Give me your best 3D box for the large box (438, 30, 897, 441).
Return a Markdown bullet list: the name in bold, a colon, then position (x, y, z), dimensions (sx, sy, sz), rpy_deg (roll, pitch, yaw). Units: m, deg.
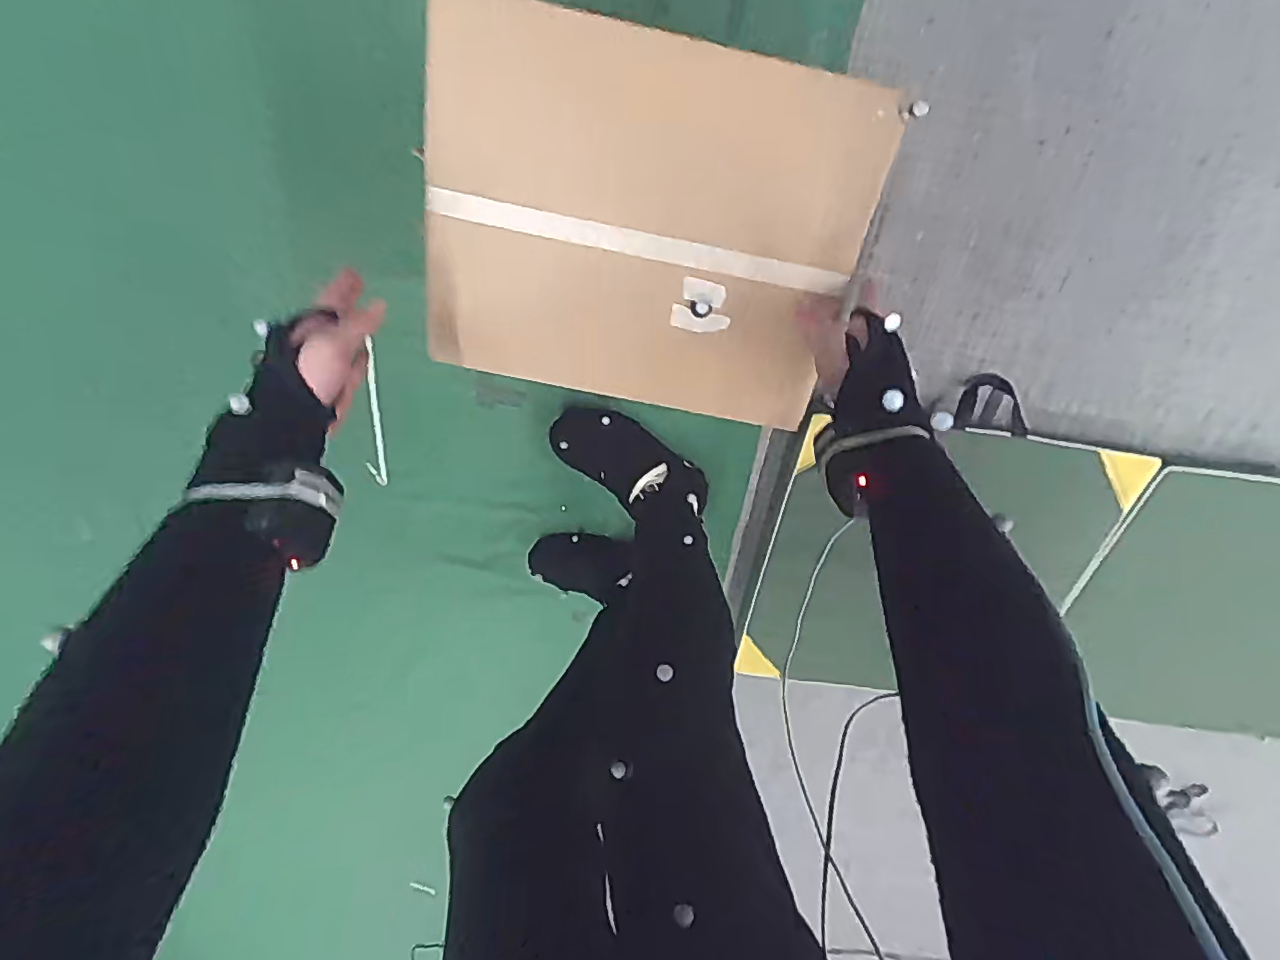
- **large box**: position (0.005, -0.273, 0.656), dimensions (0.408, 0.320, 0.320), rpy_deg (10, 118, -4)
